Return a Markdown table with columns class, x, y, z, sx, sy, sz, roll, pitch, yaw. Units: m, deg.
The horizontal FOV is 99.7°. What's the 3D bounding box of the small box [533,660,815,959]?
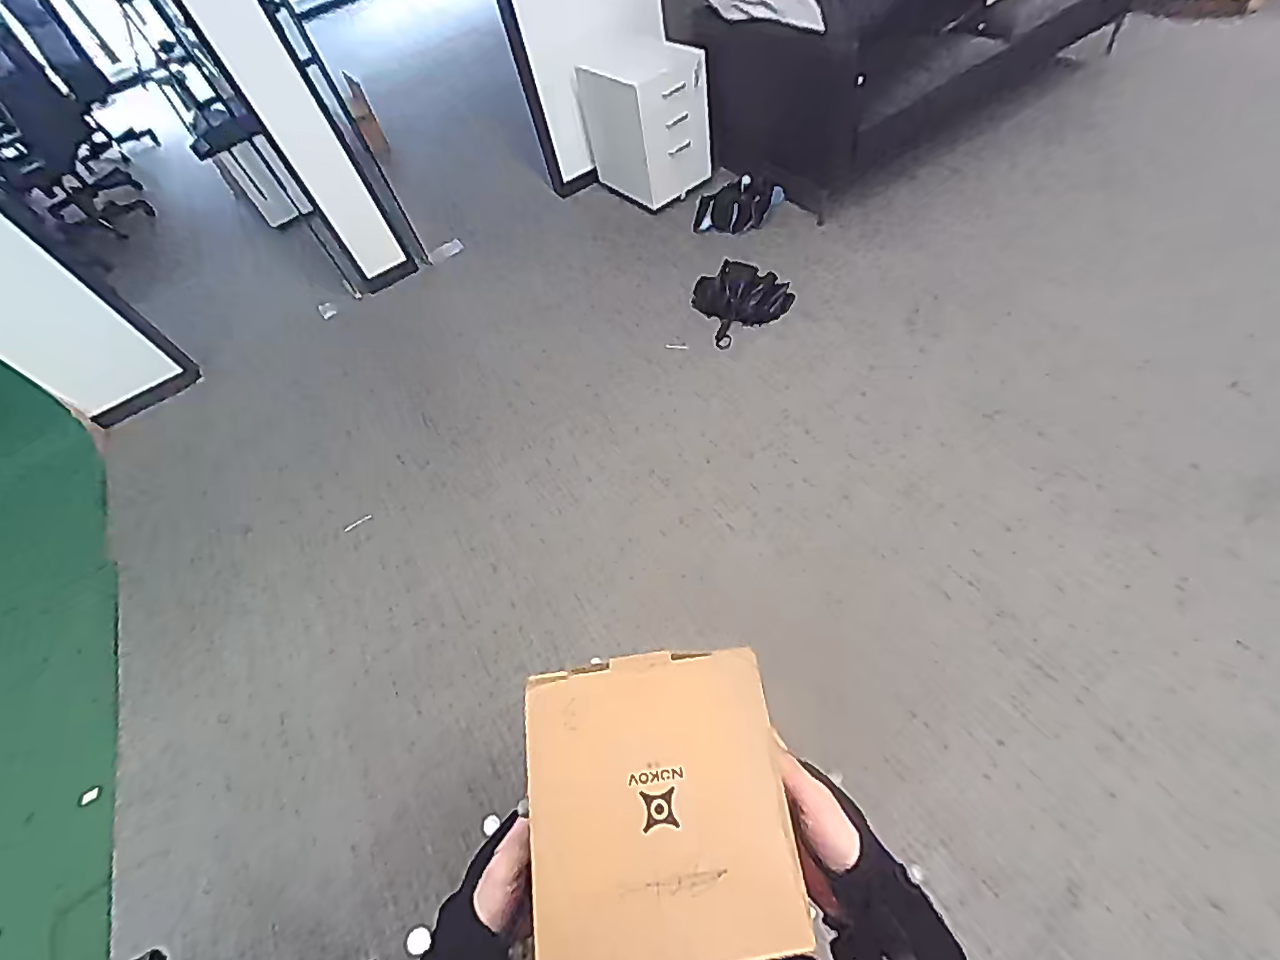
| class | x | y | z | sx | sy | sz | roll | pitch | yaw |
| --- | --- | --- | --- | --- | --- | --- | --- | --- | --- |
| small box | 0.012 | 0.249 | 0.420 | 0.168 | 0.176 | 0.179 | -6 | 66 | -4 |
